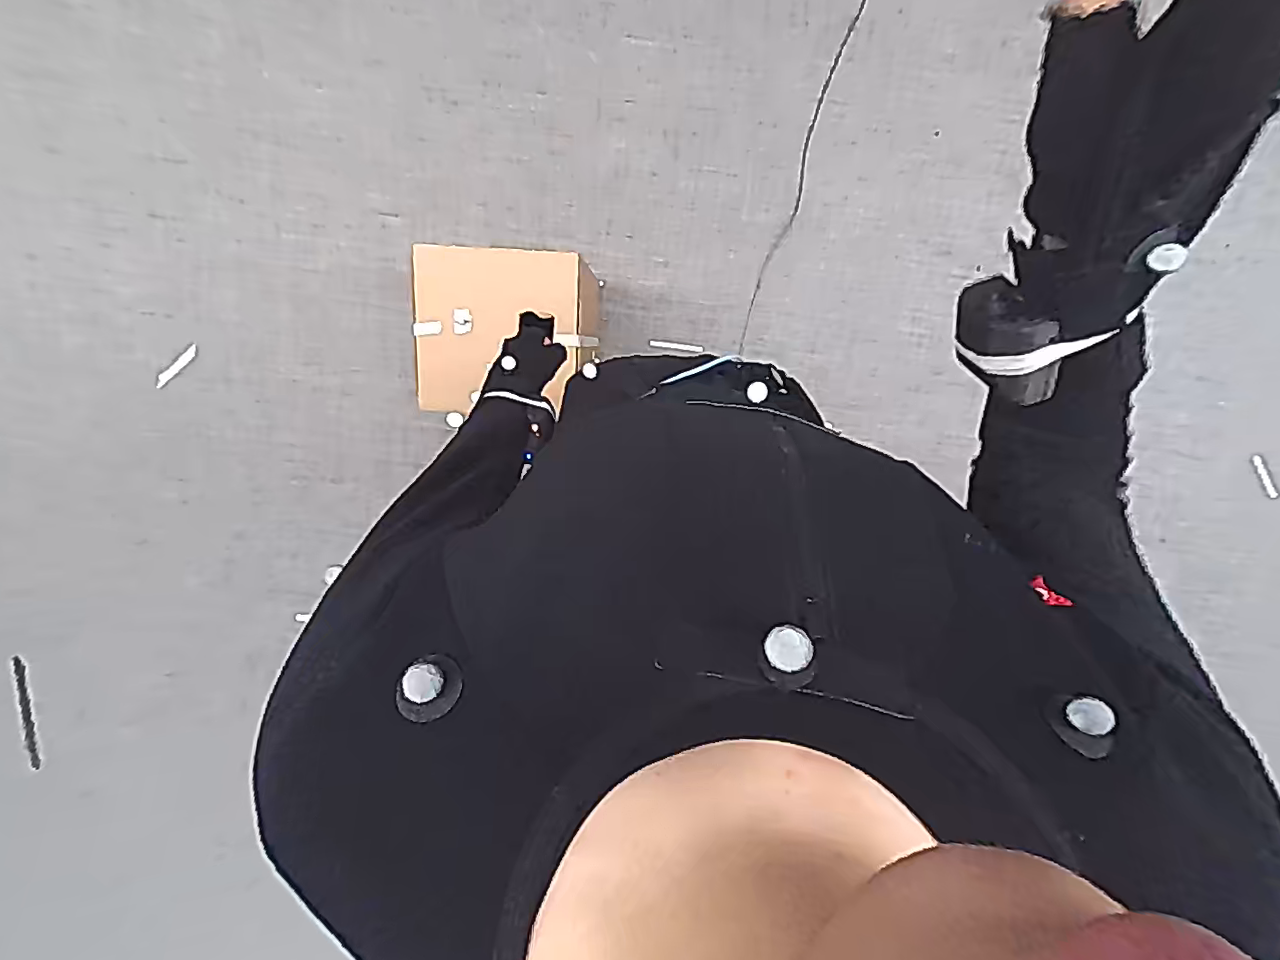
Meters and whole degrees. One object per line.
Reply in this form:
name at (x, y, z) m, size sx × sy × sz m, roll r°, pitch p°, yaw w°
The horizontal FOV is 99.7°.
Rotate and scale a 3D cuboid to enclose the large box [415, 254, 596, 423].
large box at (-0.275, -0.320, 1.229) m, size 0.320 × 0.408 × 0.320 m, roll 4°, pitch 104°, yaw -1°
